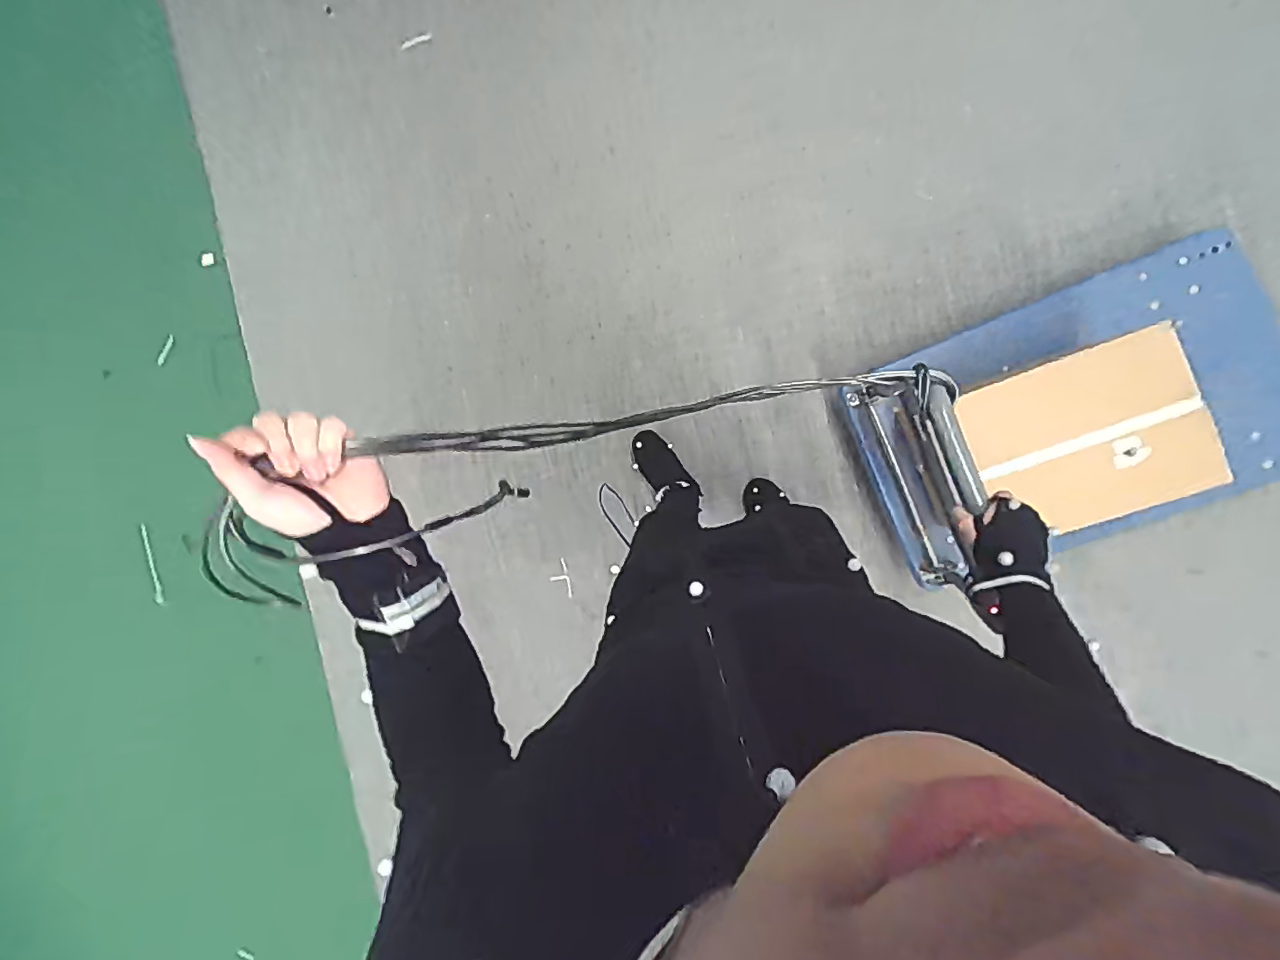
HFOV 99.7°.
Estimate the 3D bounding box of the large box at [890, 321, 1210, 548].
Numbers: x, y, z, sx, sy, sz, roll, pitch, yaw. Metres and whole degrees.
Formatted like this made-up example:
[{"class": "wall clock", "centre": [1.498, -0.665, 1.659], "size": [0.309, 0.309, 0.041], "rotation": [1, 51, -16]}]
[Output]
[{"class": "large box", "centre": [0.826, -0.085, 1.163], "size": [0.408, 0.320, 0.320], "rotation": [-21, 90, 11]}]
